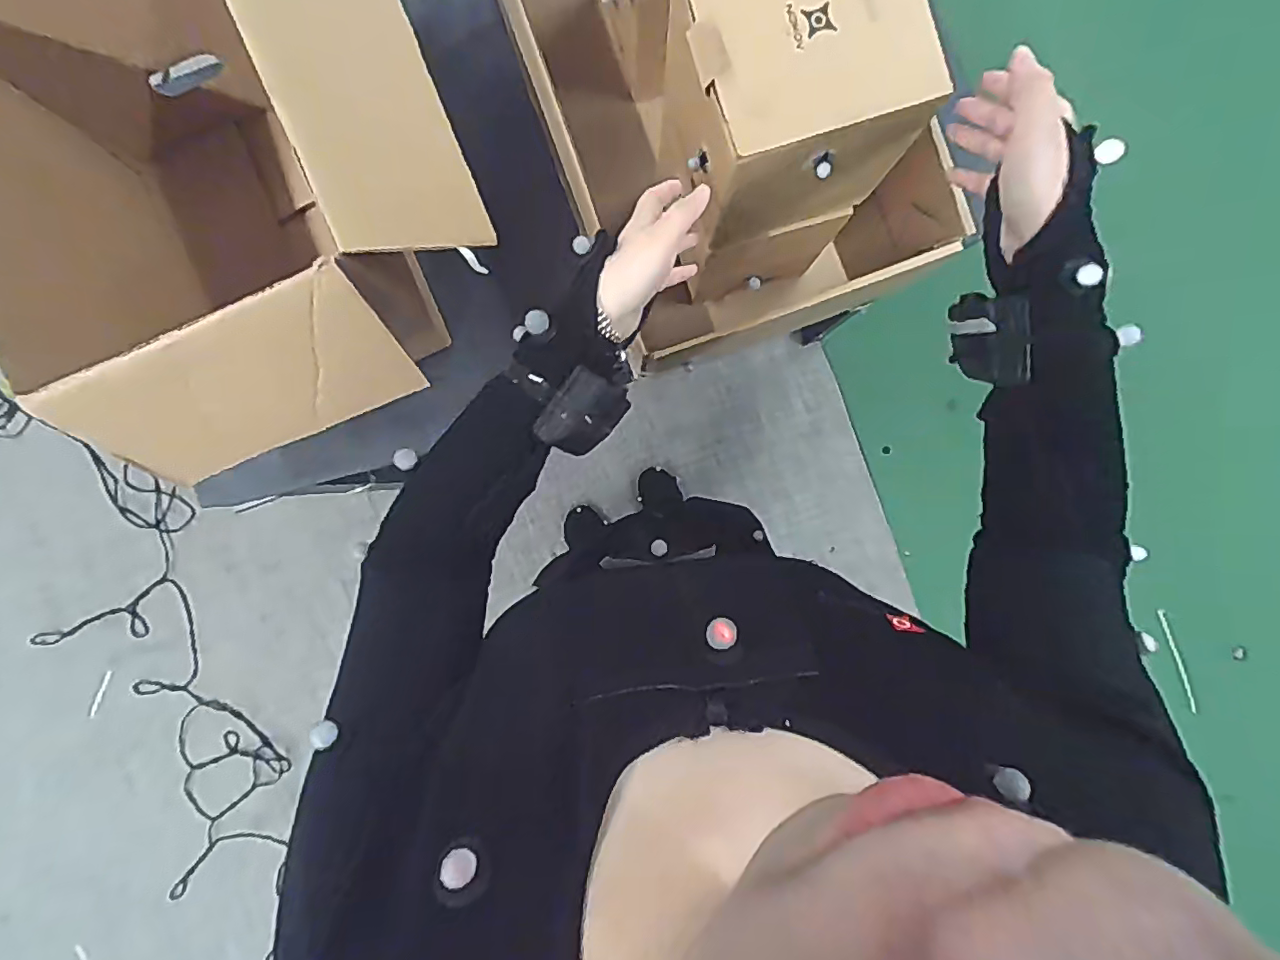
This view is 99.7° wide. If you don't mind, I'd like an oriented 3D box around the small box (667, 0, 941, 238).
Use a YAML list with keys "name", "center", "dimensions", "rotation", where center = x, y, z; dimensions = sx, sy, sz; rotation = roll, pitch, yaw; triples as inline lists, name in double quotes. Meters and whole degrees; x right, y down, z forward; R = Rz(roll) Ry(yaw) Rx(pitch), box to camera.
- name: "small box"
  center: [0.127, -0.350, 0.495]
  dimensions: [0.179, 0.176, 0.168]
  rotation: [-17, 92, -1]
